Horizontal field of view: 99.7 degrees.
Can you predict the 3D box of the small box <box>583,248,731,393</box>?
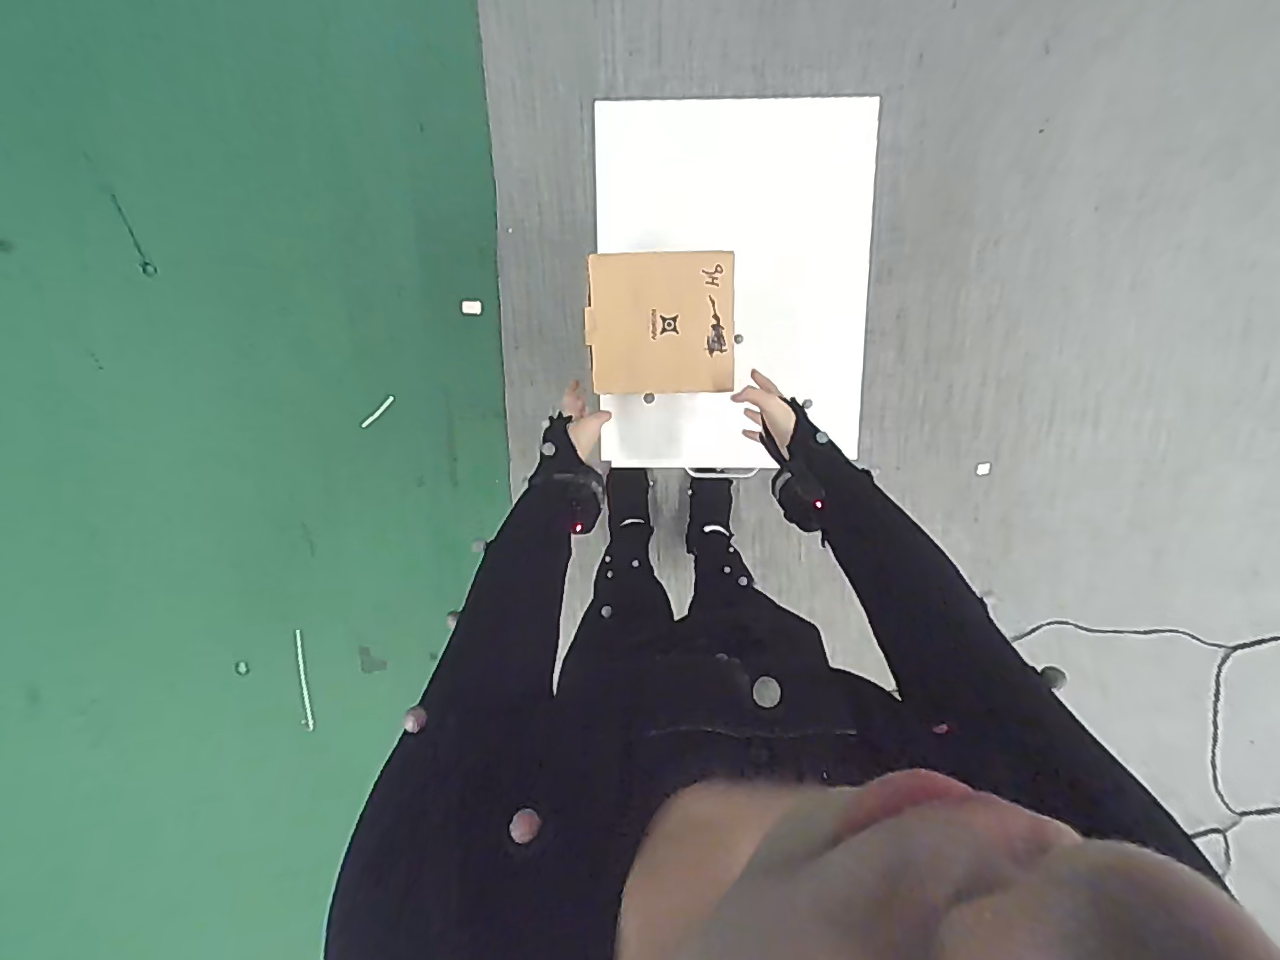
[{"bbox_3d":[0.021,-0.201,0.722,0.179,0.176,0.168,-1,99,0],"label":"small box"}]
